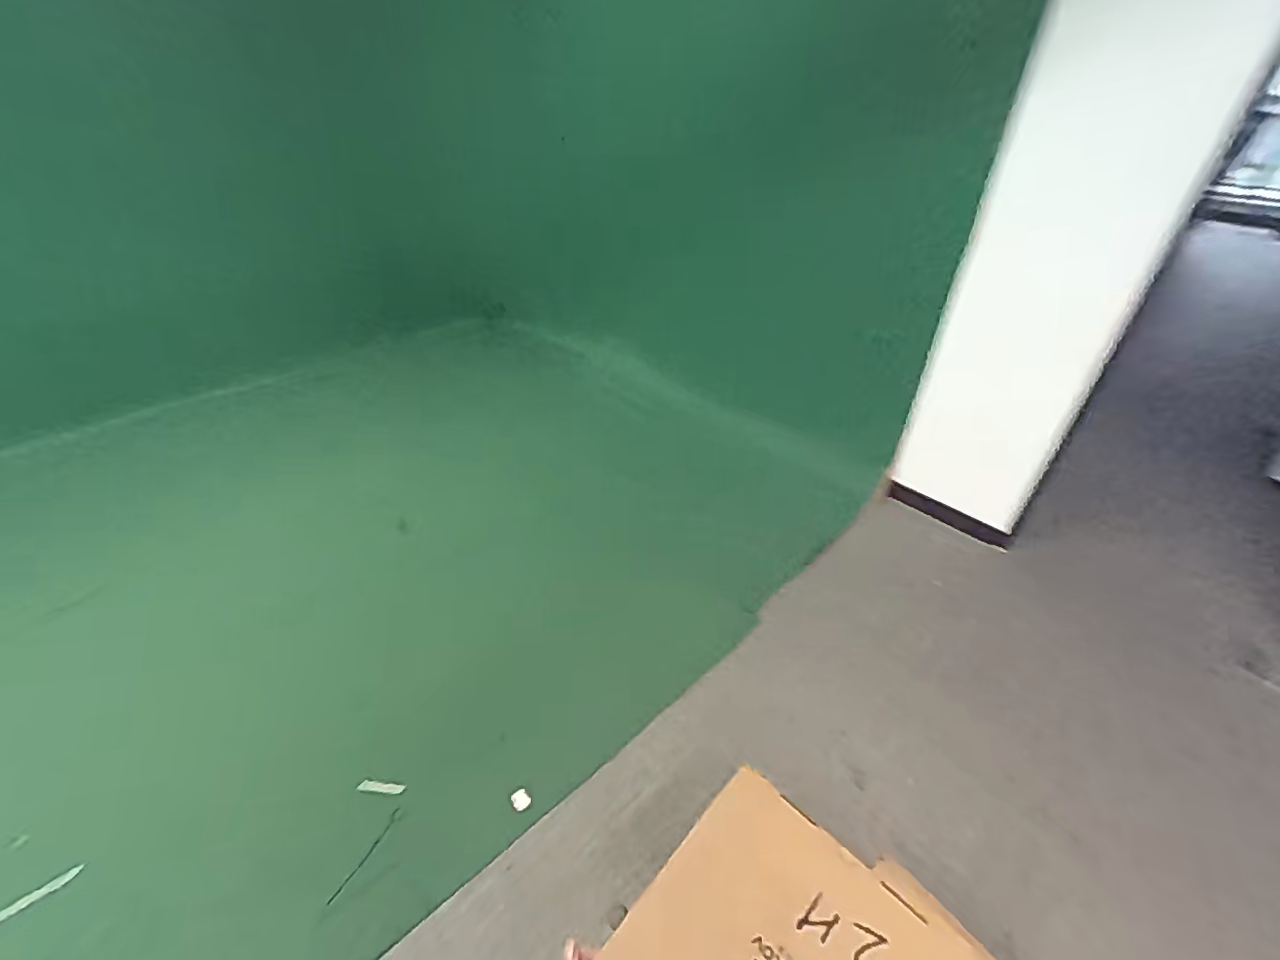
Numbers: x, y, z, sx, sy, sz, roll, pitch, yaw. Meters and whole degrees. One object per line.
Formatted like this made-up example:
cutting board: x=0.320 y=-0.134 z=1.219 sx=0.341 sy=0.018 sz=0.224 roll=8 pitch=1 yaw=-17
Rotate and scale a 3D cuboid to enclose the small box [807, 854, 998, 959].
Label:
small box: x=0.335 y=0.656 z=0.711 sx=0.168 sy=0.176 sz=0.179 roll=-27 pitch=44 yaw=-31
